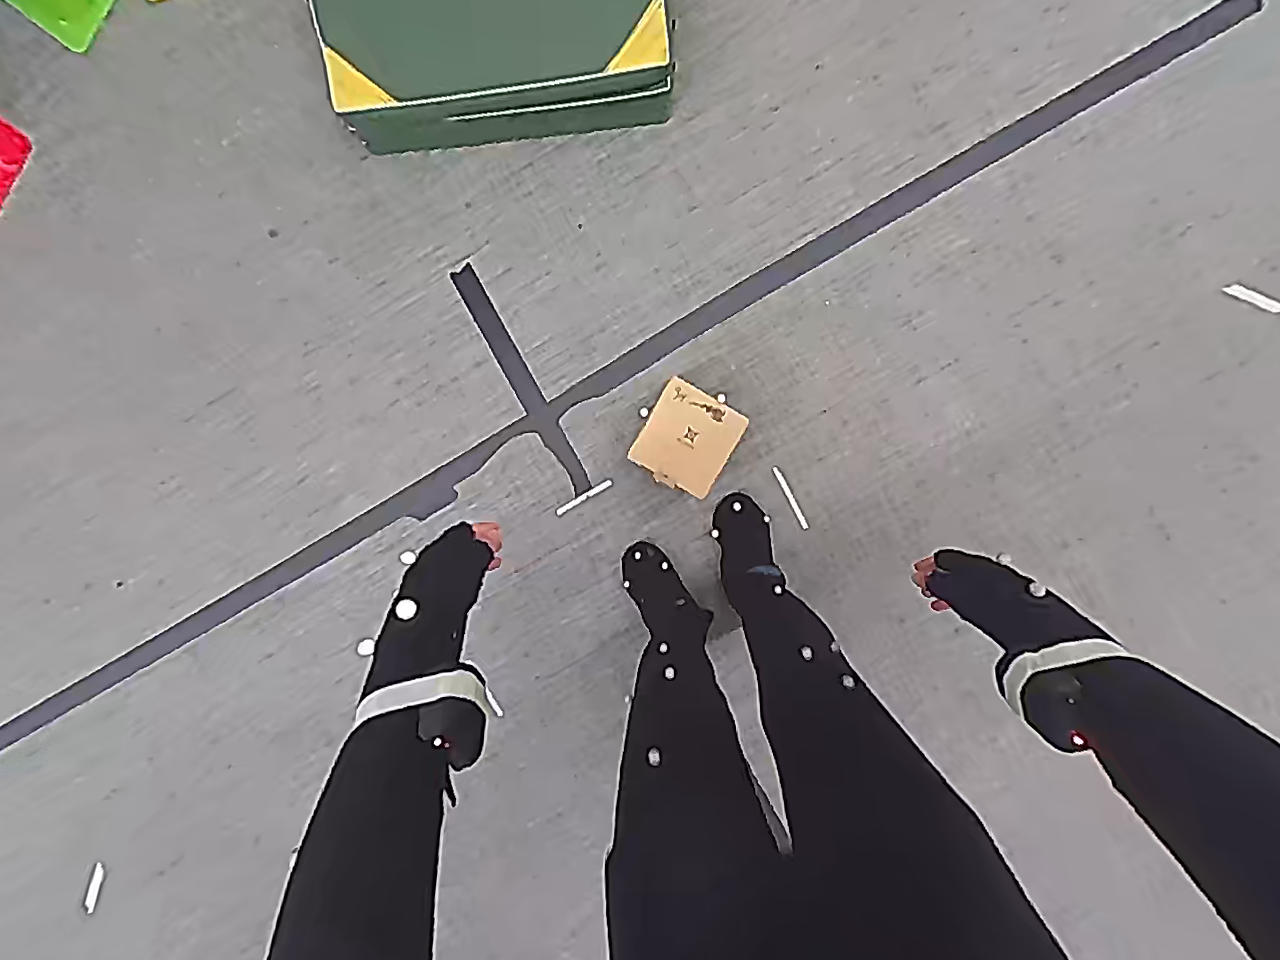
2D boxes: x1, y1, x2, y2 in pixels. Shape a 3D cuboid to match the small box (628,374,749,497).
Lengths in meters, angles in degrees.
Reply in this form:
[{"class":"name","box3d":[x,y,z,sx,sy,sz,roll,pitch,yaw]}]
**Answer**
[{"class":"small box","box3d":[0.091,-0.089,1.063,0.168,0.176,0.179,27,96,-2]}]
